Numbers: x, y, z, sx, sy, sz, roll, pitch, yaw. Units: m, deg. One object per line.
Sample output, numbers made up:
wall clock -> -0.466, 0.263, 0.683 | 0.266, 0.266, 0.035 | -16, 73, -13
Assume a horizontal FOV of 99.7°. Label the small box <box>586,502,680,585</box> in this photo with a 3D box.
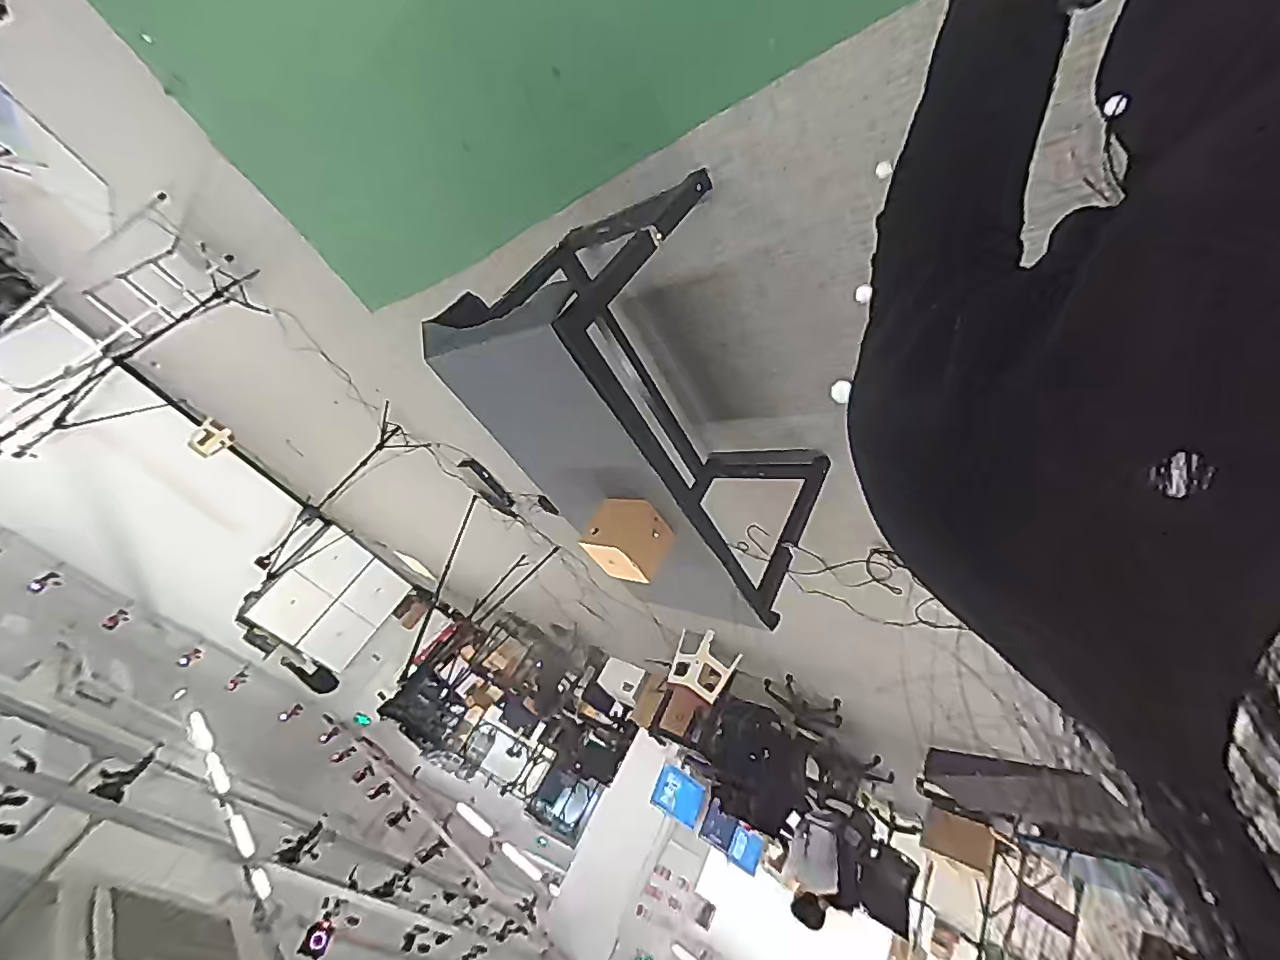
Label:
small box -> -0.016, 0.177, 1.556 | 0.179, 0.176, 0.168 | 0, 138, 46
